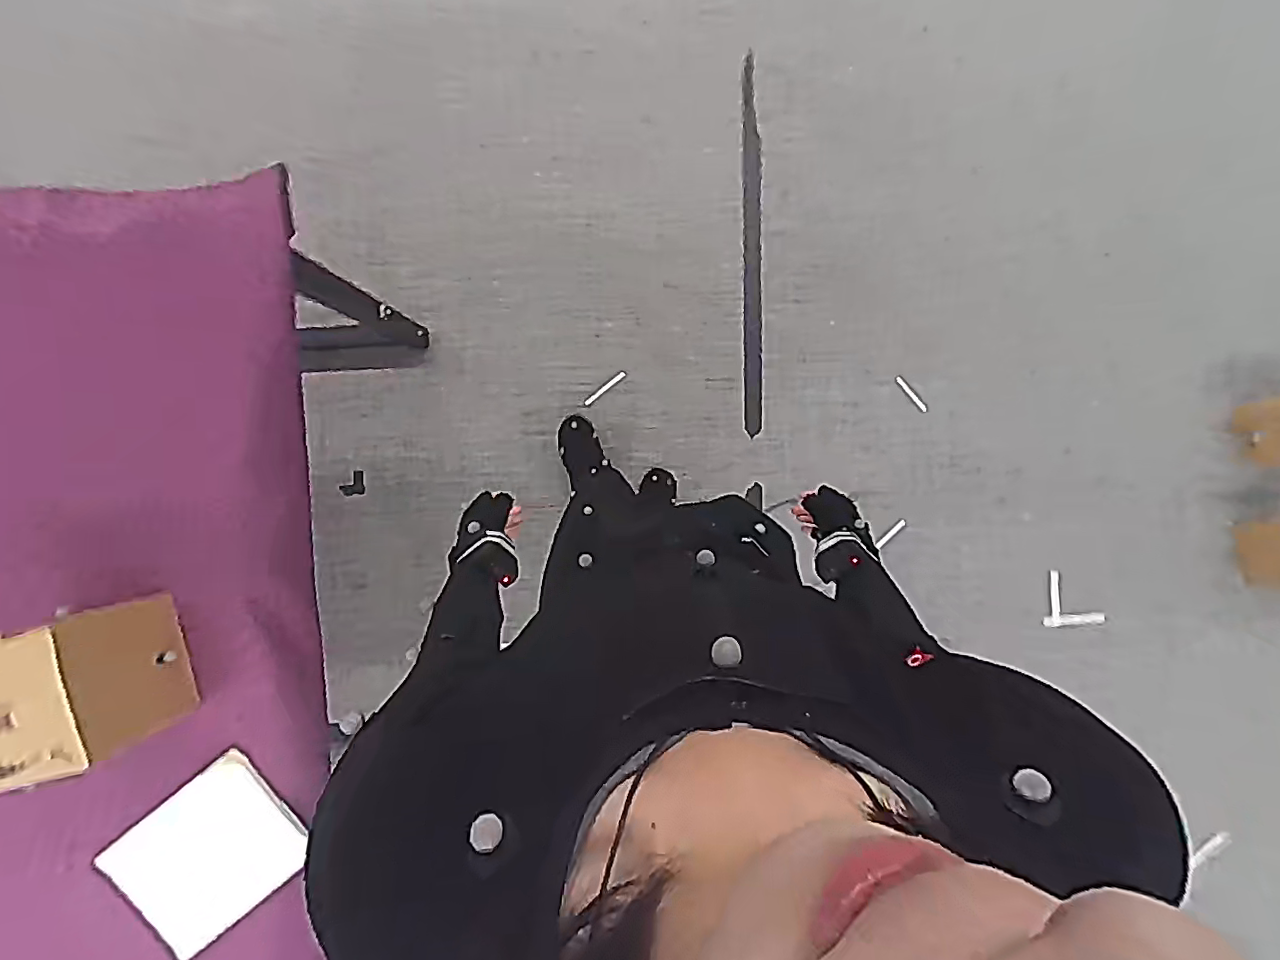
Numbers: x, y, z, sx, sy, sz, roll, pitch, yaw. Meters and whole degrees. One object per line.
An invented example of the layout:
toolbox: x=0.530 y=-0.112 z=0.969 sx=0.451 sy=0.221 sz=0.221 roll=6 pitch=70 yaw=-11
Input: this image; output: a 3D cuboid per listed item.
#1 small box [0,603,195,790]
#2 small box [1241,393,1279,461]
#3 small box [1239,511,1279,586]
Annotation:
small box: x=-0.739 y=0.270 z=0.704 sx=0.168 sy=0.176 sz=0.179 roll=-14 pitch=91 yaw=1
small box: x=1.778 y=-0.153 z=1.427 sx=0.179 sy=0.176 sz=0.168 roll=-21 pitch=91 yaw=1
small box: x=1.784 y=0.187 z=1.440 sx=0.168 sy=0.176 sz=0.179 roll=-21 pitch=91 yaw=0
